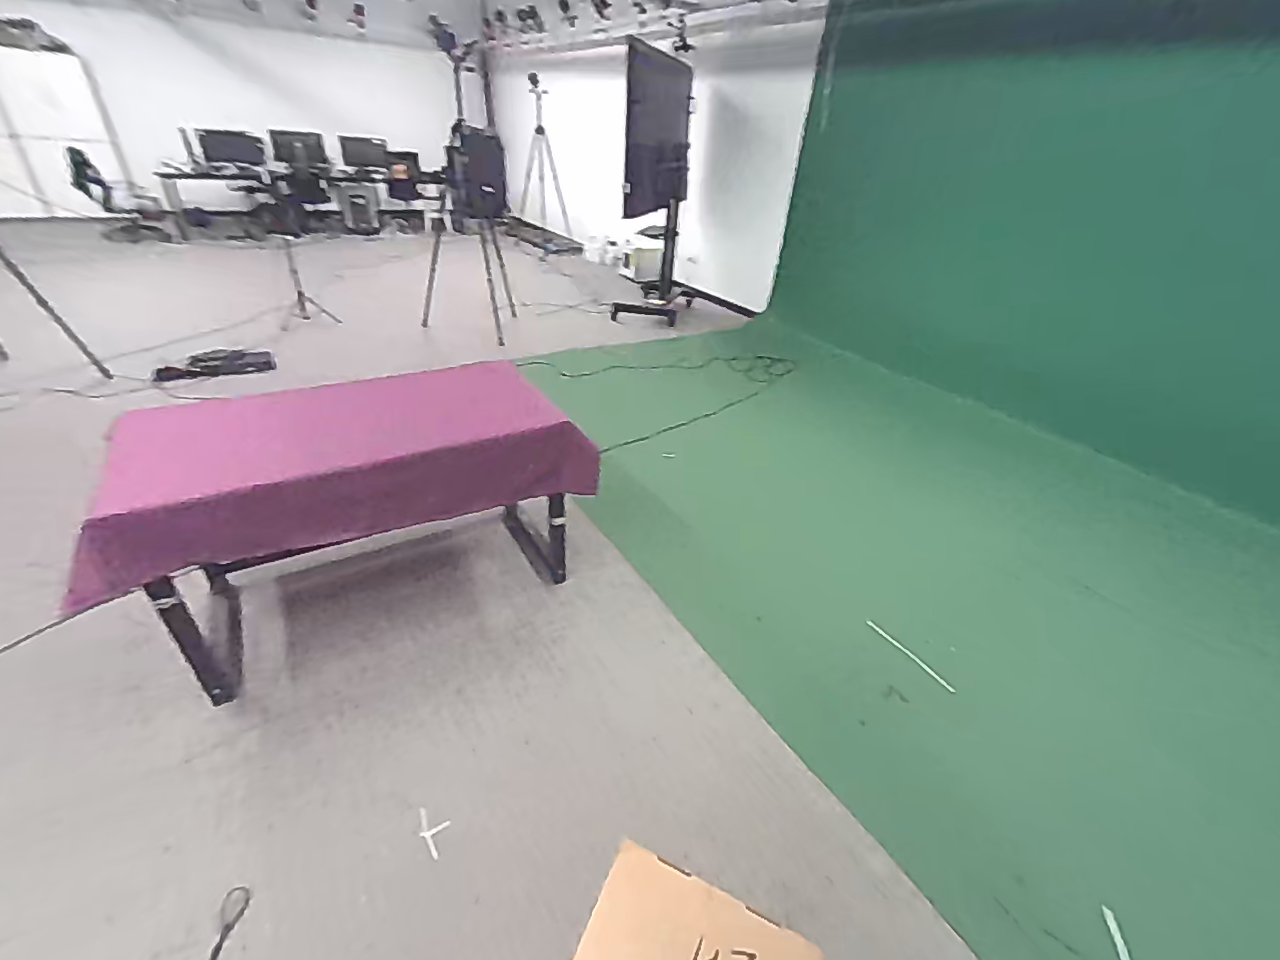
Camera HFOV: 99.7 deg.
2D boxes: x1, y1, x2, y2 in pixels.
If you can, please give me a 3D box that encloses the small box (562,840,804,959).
[{"bbox_3d":[0.017,0.439,0.436,0.168,0.176,0.179,19,50,18],"label":"small box"}]
